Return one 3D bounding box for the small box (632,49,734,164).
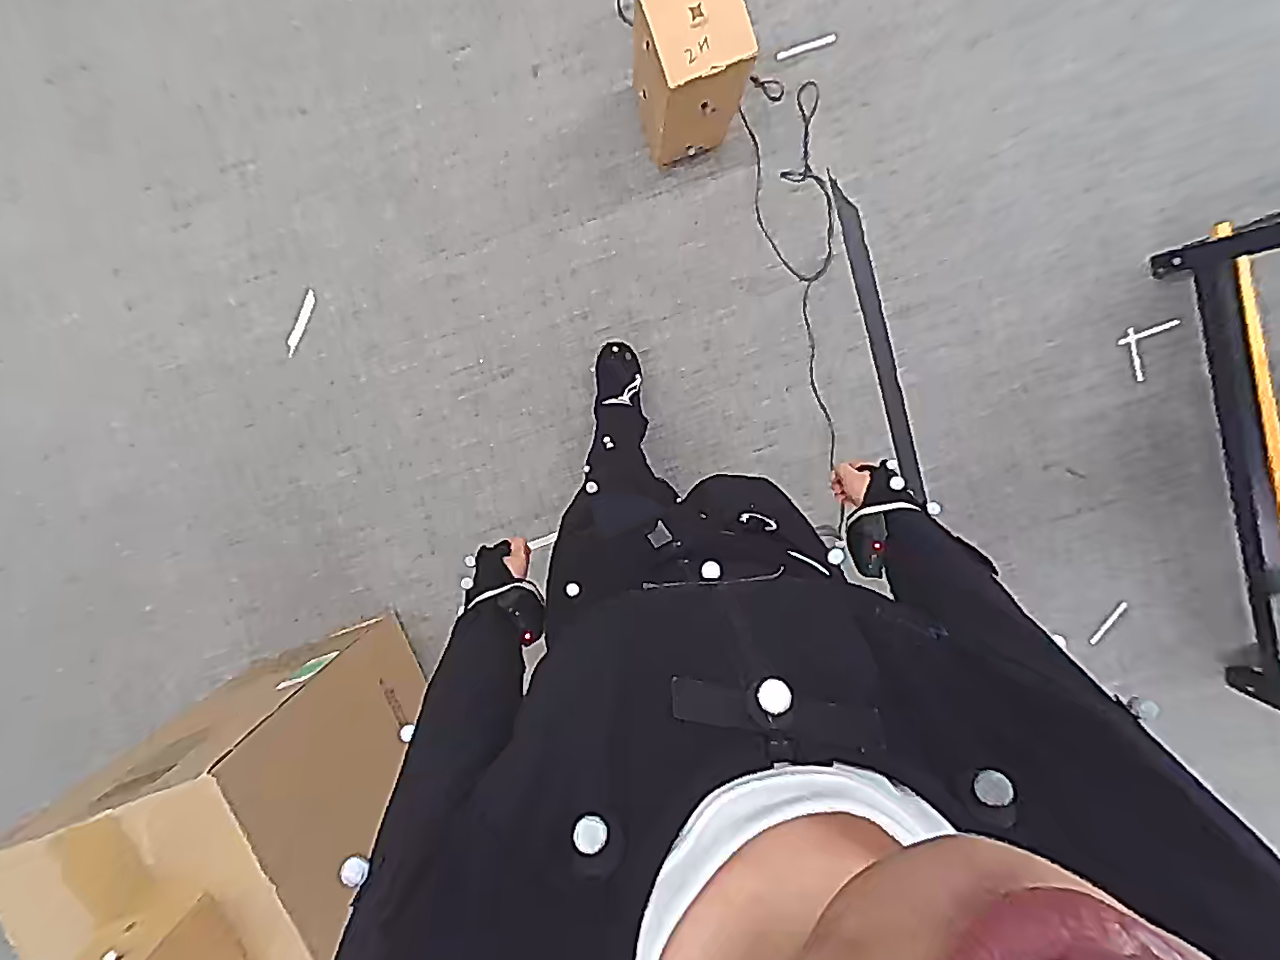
[{"bbox_3d":[0.084,-0.817,1.152,0.168,0.176,0.179,-19,100,2],"label":"small box"}]

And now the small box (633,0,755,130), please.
[{"bbox_3d":[0.089,-0.791,0.989,0.168,0.176,0.179,-20,99,2],"label":"small box"}]

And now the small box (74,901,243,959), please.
[{"bbox_3d":[-0.693,0.726,0.740,0.168,0.176,0.179,-20,99,1],"label":"small box"}]
